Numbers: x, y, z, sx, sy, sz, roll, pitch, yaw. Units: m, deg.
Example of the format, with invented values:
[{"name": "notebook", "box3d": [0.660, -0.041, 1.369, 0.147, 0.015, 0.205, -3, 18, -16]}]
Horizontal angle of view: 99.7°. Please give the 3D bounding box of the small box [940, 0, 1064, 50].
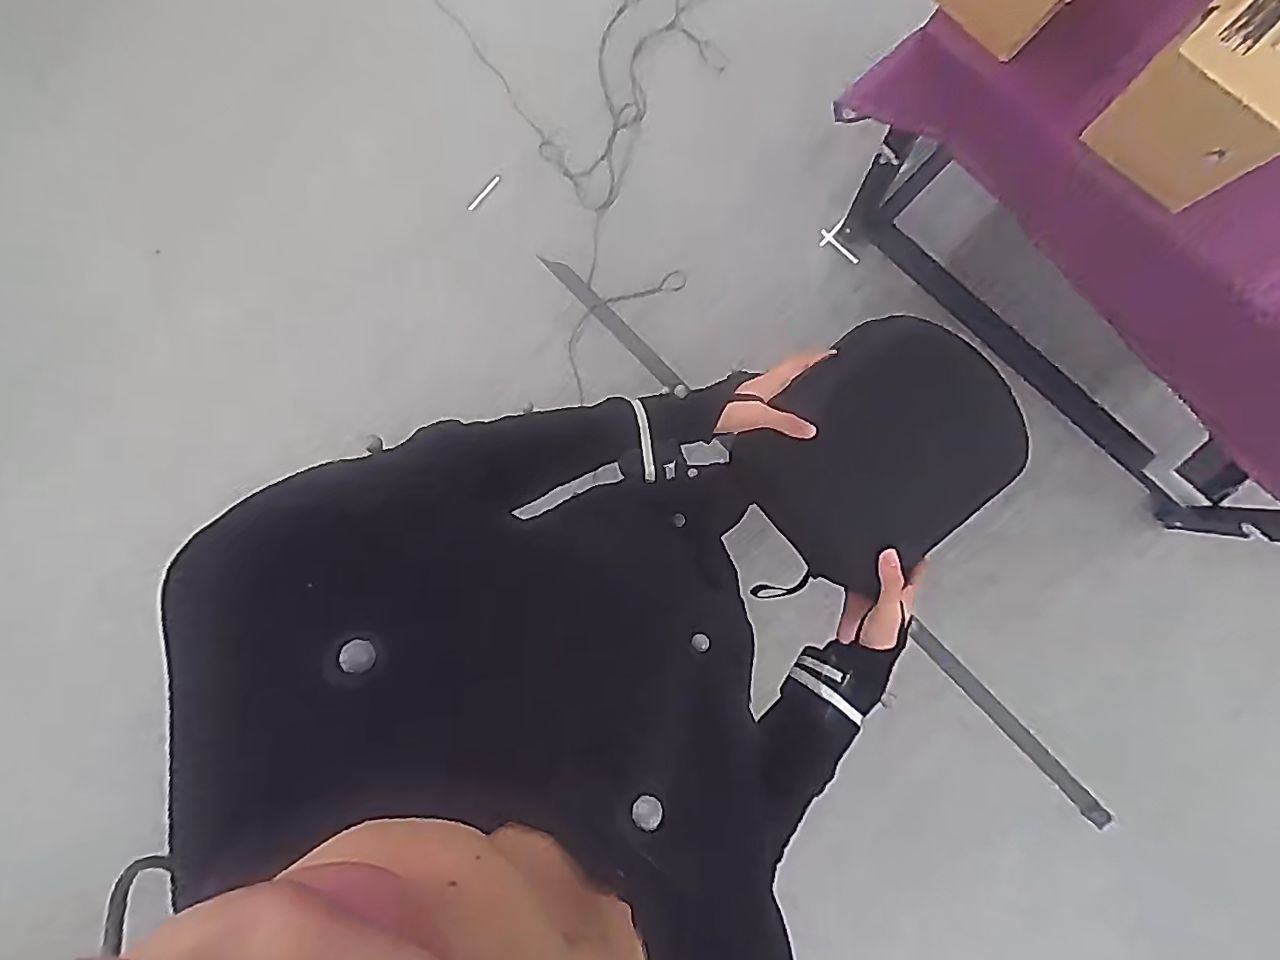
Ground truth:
[{"name": "small box", "box3d": [0.522, -0.736, 0.714, 0.168, 0.176, 0.179, -45, 86, 6]}]
